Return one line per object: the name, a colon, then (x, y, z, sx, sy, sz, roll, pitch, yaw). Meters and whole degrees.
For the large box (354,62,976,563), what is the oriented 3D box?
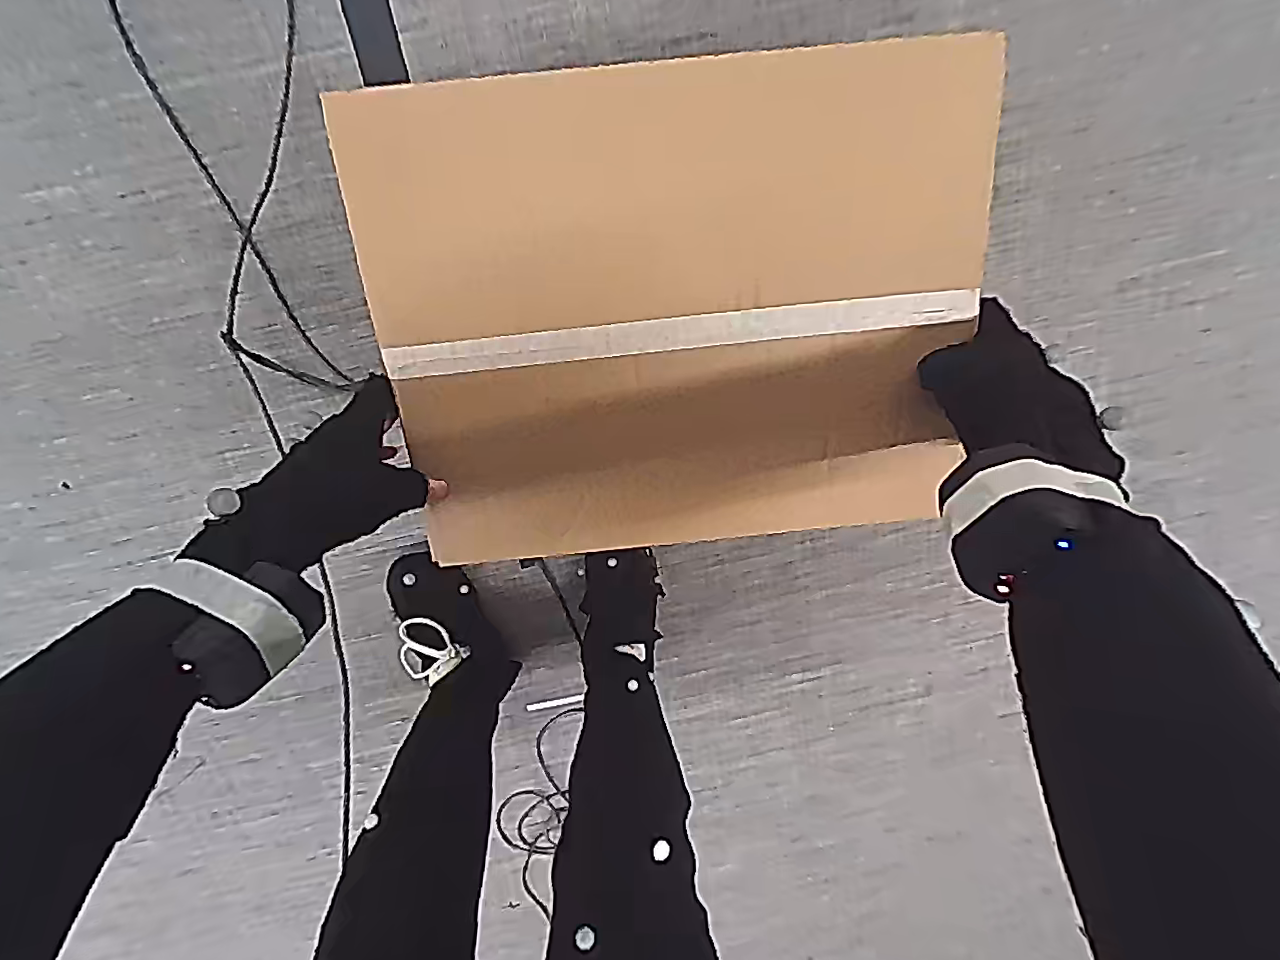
large box: (0.023, -0.144, 0.527, 0.408, 0.320, 0.320, -6, 110, -1)
